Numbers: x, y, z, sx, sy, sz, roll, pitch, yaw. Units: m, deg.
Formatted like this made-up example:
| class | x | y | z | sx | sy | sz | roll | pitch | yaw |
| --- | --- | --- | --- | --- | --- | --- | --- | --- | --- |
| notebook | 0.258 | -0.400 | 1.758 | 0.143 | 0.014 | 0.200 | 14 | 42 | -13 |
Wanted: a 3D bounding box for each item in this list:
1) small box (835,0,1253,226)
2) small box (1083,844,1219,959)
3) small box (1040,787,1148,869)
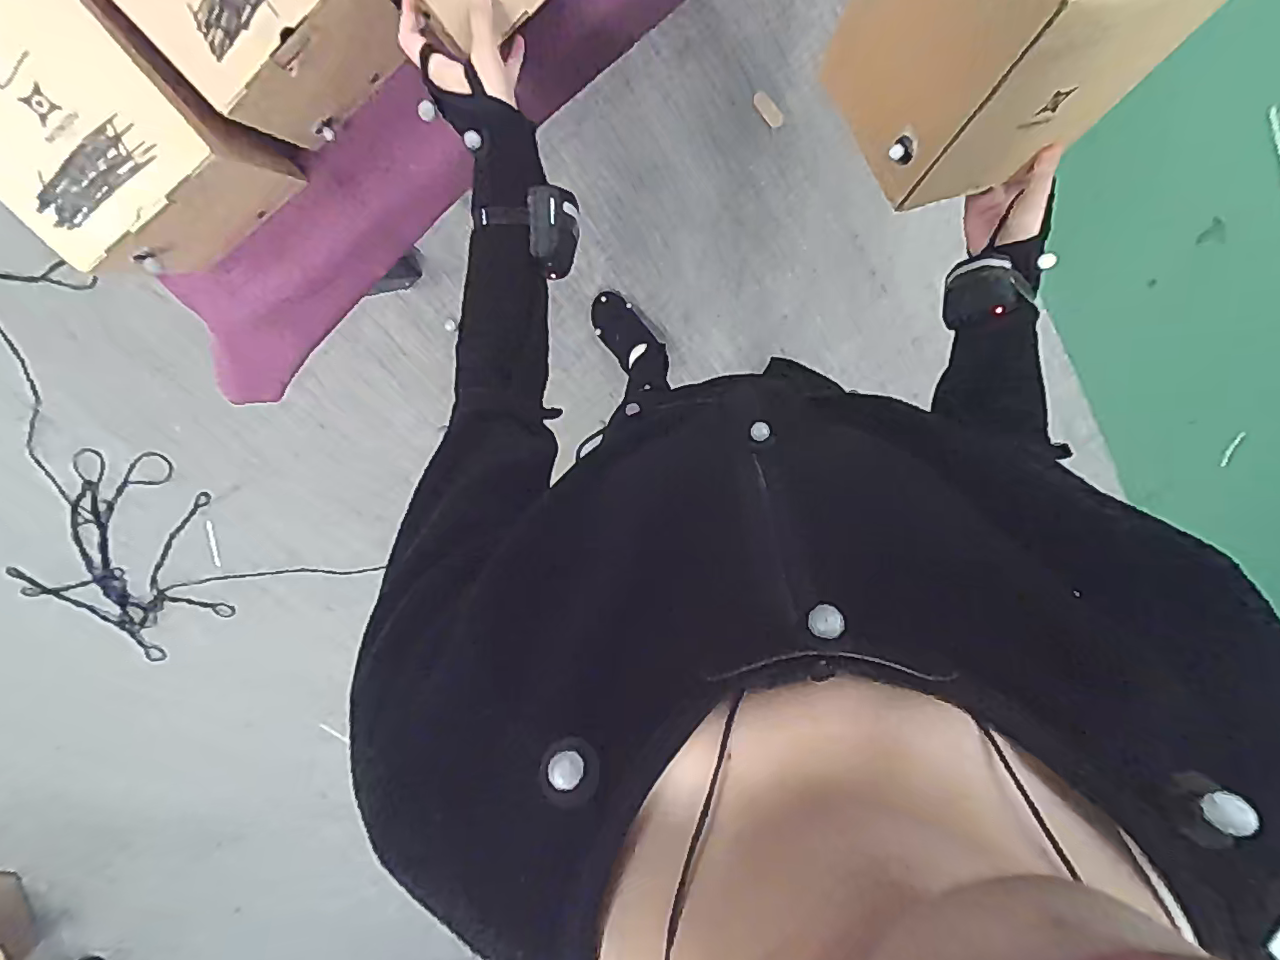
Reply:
| class | x | y | z | sx | sy | sz | roll | pitch | yaw |
| --- | --- | --- | --- | --- | --- | --- | --- | --- | --- |
| small box | 0.284 | -0.342 | 0.423 | 0.168 | 0.179 | 0.176 | -18 | 80 | -12 |
| small box | 1.300 | 1.080 | 1.390 | 0.168 | 0.176 | 0.179 | -39 | 109 | 11 |
| small box | 1.303 | 1.025 | 1.545 | 0.168 | 0.176 | 0.179 | -39 | 109 | 10 |
